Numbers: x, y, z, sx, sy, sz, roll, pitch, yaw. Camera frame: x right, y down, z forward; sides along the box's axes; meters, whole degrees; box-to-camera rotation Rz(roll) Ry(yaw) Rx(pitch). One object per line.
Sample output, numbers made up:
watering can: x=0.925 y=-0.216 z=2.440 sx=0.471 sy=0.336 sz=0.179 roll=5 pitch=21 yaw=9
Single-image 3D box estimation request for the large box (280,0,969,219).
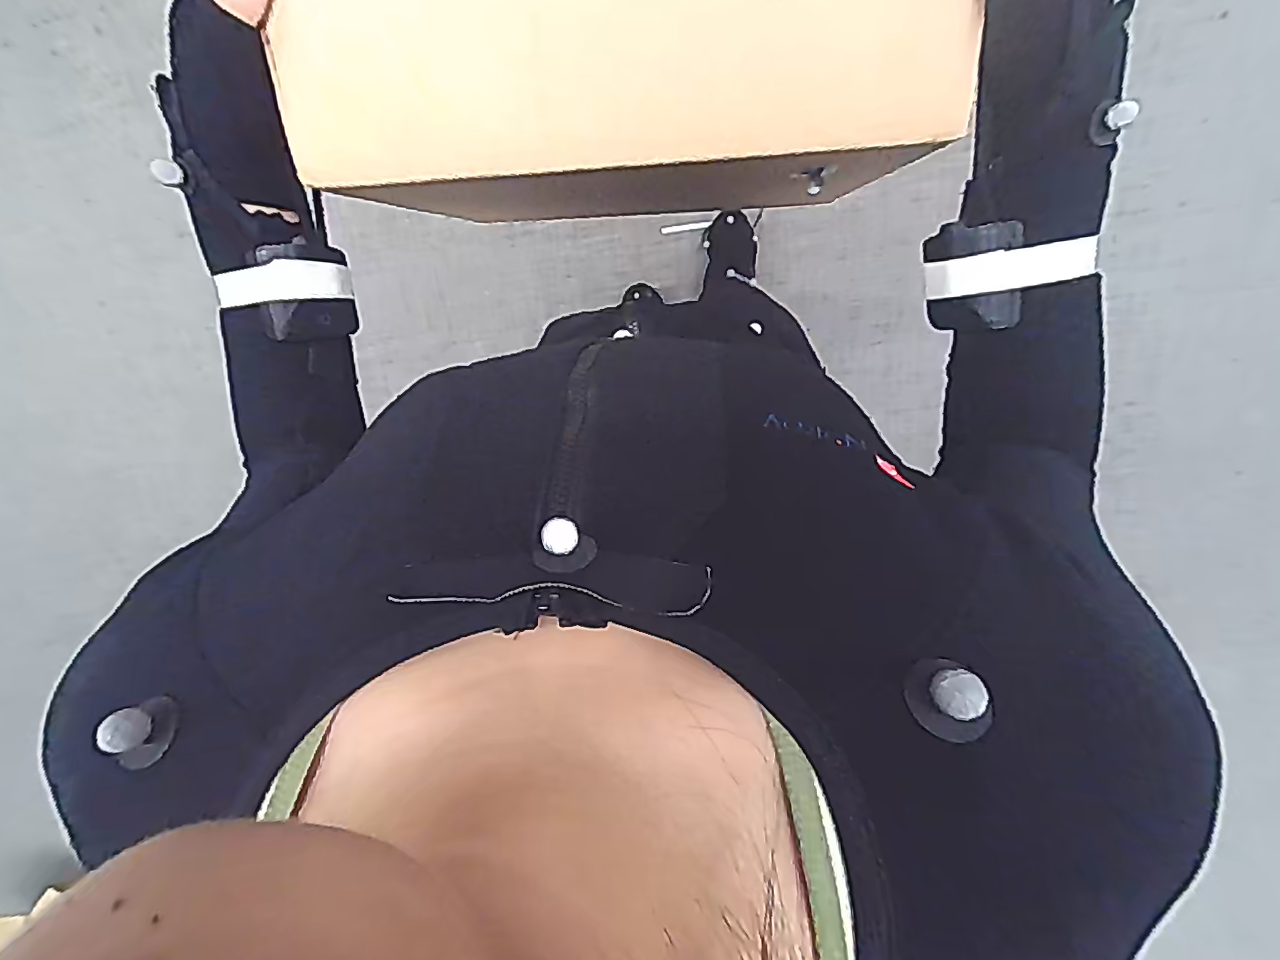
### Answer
large box: x=-0.006 y=-0.396 z=0.423 sx=0.408 sy=0.320 sz=0.320 roll=-1 pitch=111 yaw=6
